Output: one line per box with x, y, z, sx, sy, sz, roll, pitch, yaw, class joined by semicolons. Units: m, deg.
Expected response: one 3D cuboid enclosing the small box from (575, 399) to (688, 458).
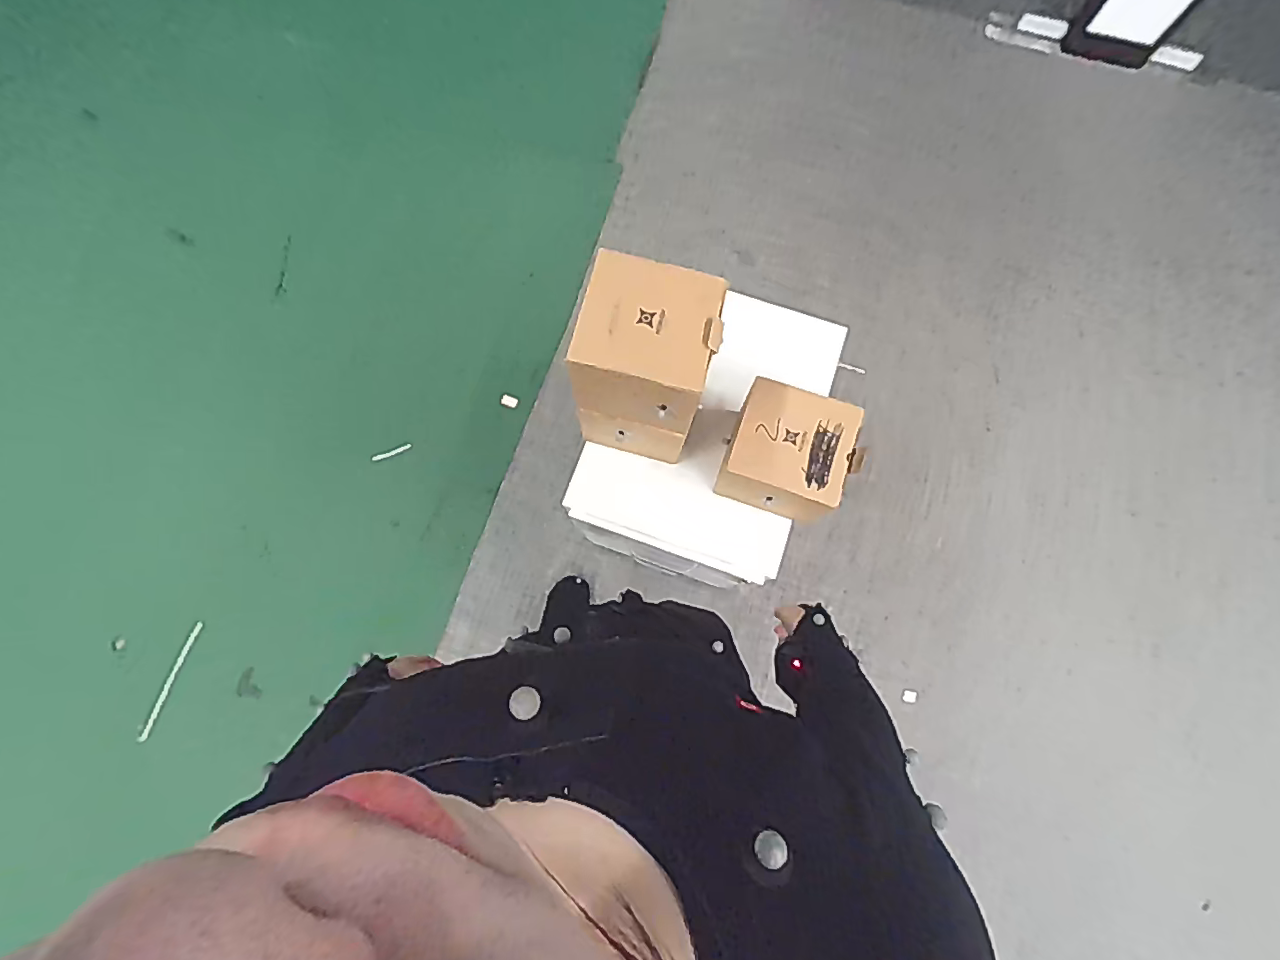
0.003;-0.149;0.919;0.179;0.176;0.168;15;78;2;small box

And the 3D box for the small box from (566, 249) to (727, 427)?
0.008;-0.186;0.760;0.179;0.176;0.168;14;77;1;small box
